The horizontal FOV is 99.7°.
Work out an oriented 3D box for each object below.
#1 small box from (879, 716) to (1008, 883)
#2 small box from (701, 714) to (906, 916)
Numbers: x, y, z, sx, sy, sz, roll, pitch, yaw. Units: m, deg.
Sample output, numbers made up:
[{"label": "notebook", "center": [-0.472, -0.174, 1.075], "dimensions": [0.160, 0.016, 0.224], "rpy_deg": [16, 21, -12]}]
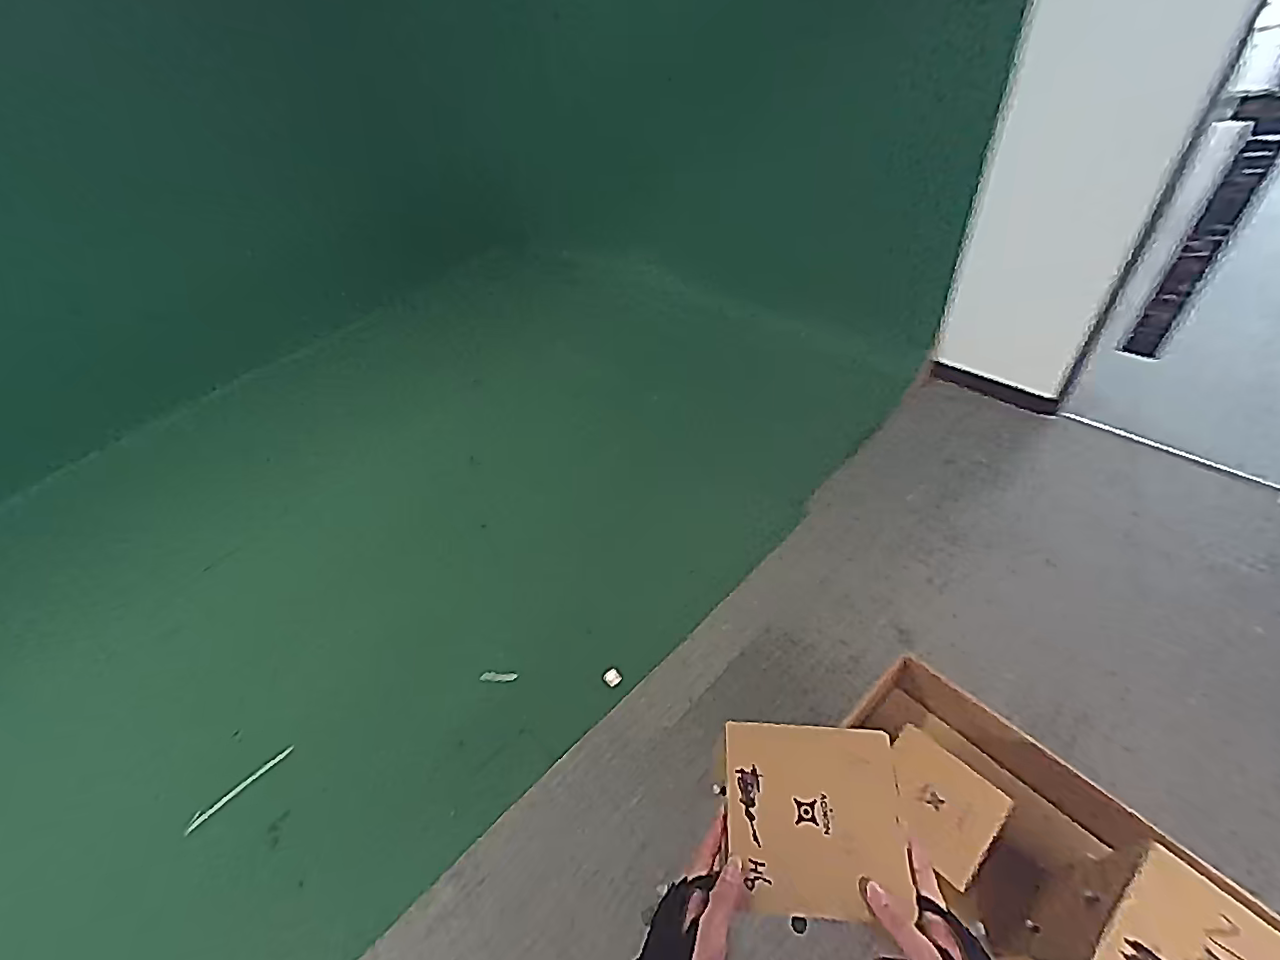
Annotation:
[{"label": "small box", "center": [0.472, 0.549, 0.925], "dimensions": [0.168, 0.176, 0.179], "rpy_deg": [-39, 54, -20]}, {"label": "small box", "center": [0.164, 0.373, 0.607], "dimensions": [0.179, 0.176, 0.168], "rpy_deg": [2, 54, 3]}]
